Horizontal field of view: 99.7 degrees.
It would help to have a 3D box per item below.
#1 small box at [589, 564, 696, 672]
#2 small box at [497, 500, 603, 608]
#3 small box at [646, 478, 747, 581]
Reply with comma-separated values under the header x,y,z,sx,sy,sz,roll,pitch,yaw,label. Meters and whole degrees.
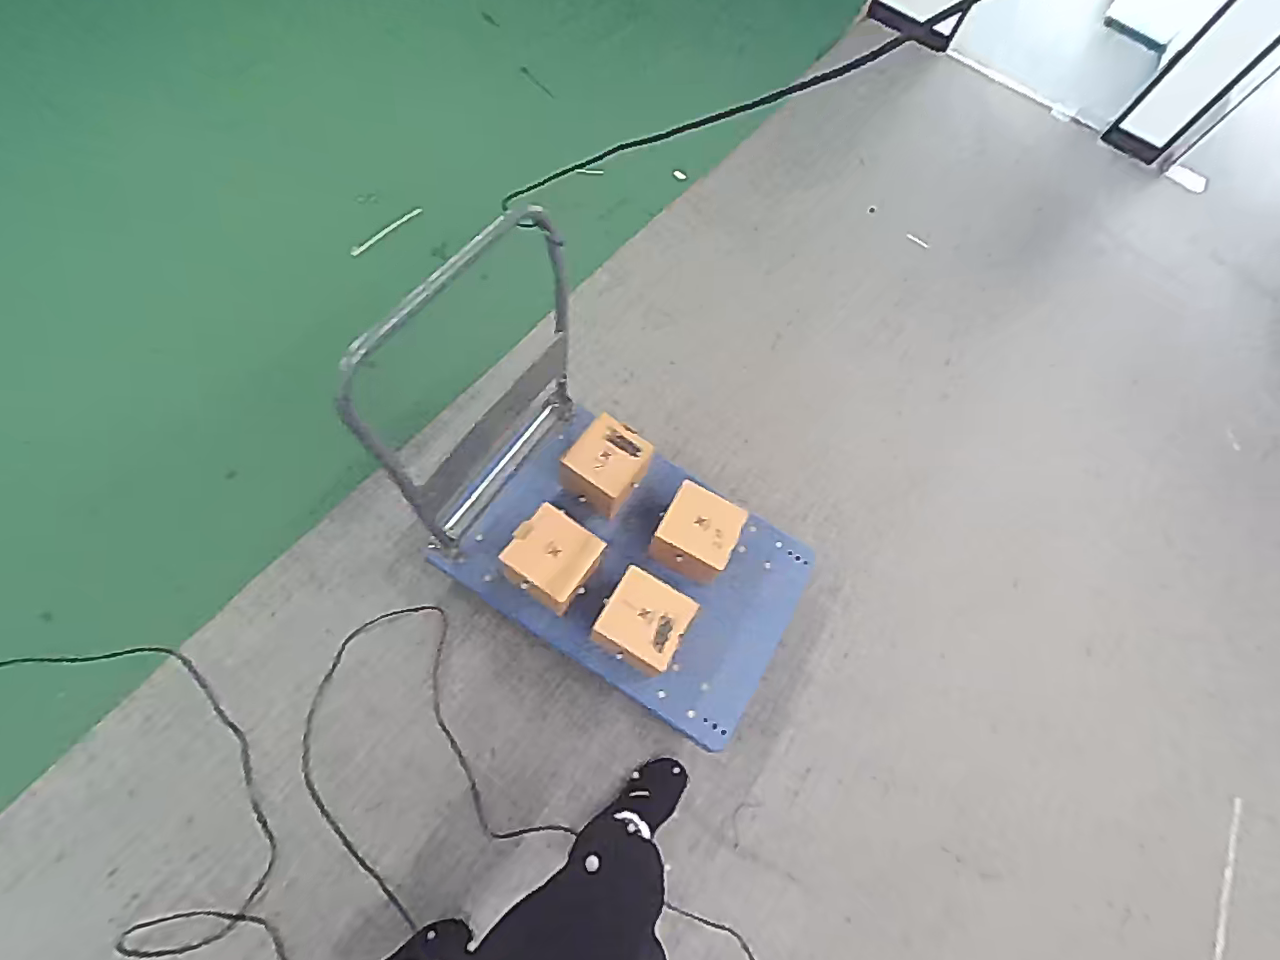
x,y,z,sx,sy,sz,roll,pitch,yaw,label
-0.001,0.319,1.227,0.179,0.176,0.168,31,65,6,small box
-0.206,0.181,1.260,0.179,0.176,0.168,33,66,7,small box
0.131,0.128,1.331,0.179,0.176,0.168,29,66,5,small box
